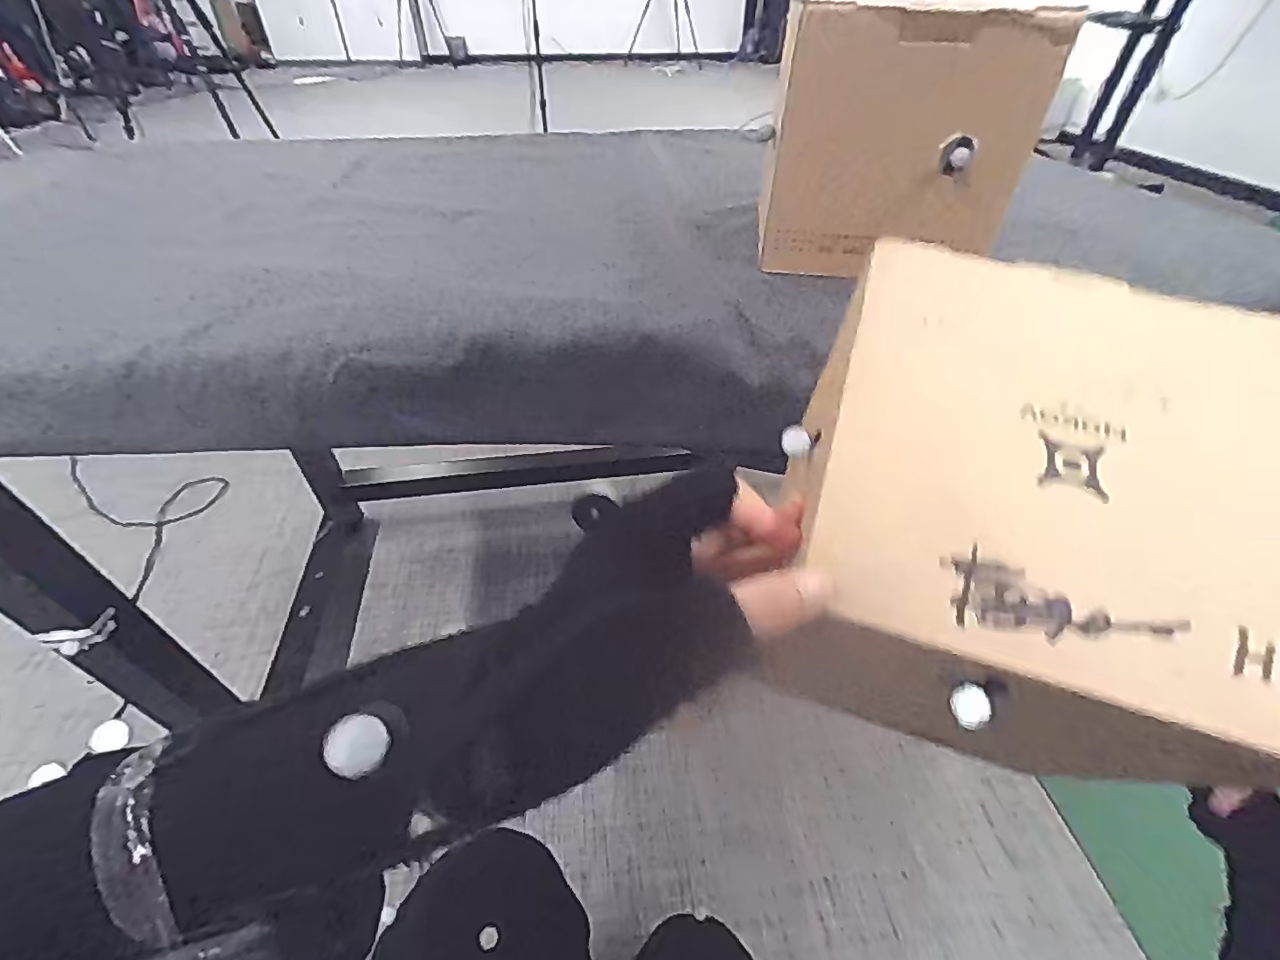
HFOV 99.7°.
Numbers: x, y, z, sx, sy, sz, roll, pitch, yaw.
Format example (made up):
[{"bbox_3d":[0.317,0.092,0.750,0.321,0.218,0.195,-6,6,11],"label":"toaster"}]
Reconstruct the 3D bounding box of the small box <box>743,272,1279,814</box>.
[{"bbox_3d":[0.156,0.035,0.270,0.168,0.176,0.179,17,65,12],"label":"small box"}]

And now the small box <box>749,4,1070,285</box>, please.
[{"bbox_3d":[0.184,-0.271,0.438,0.168,0.176,0.179,7,42,5],"label":"small box"}]
